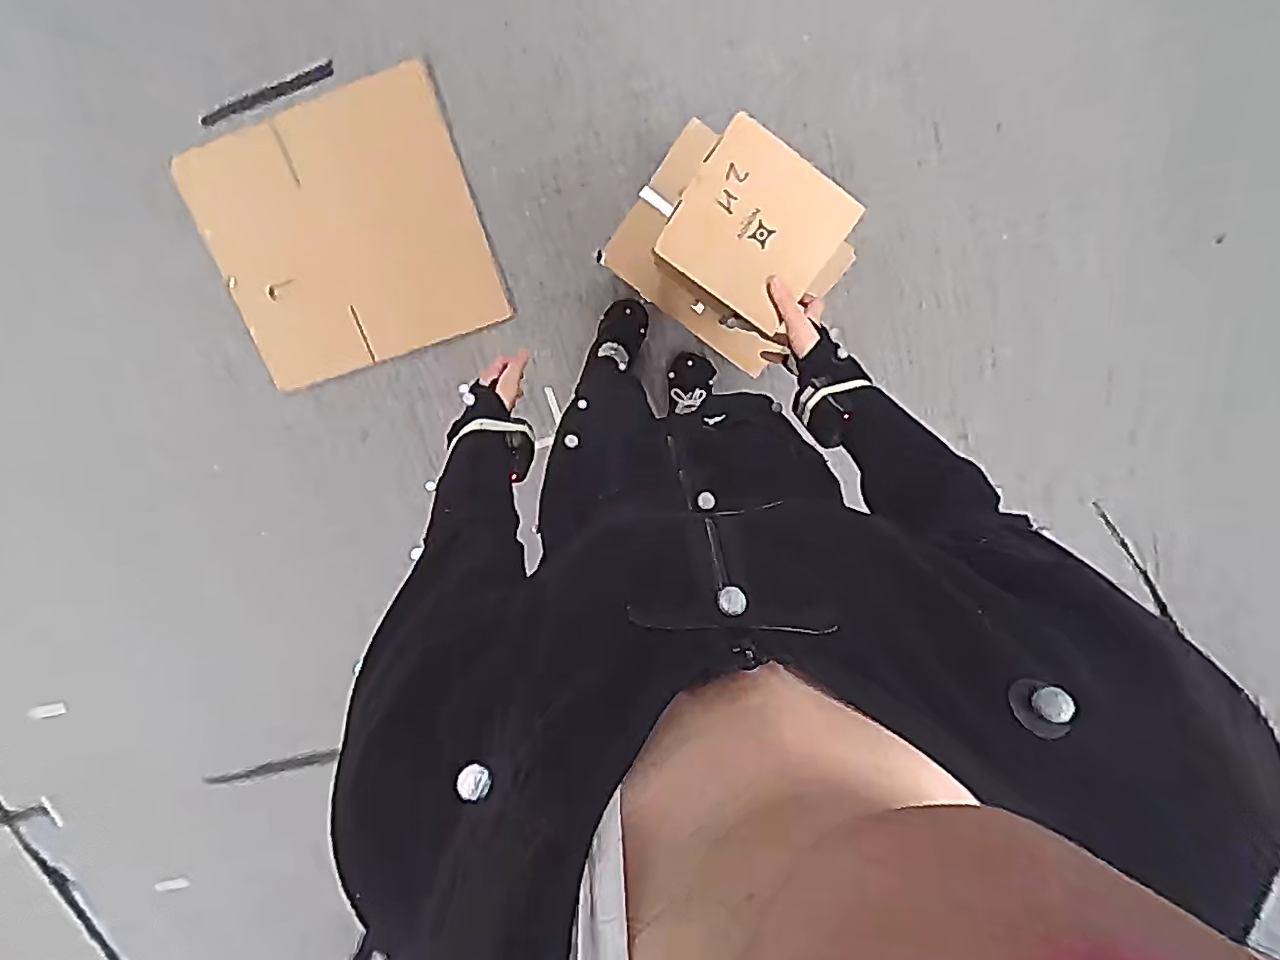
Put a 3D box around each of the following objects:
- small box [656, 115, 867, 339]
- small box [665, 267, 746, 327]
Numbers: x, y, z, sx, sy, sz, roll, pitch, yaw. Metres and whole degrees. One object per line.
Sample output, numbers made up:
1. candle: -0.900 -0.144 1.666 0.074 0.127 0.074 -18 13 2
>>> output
1. small box: 0.137 -0.298 0.672 0.179 0.176 0.168 34 106 -7
2. small box: 0.161 -0.396 0.986 0.179 0.176 0.168 33 107 -7
